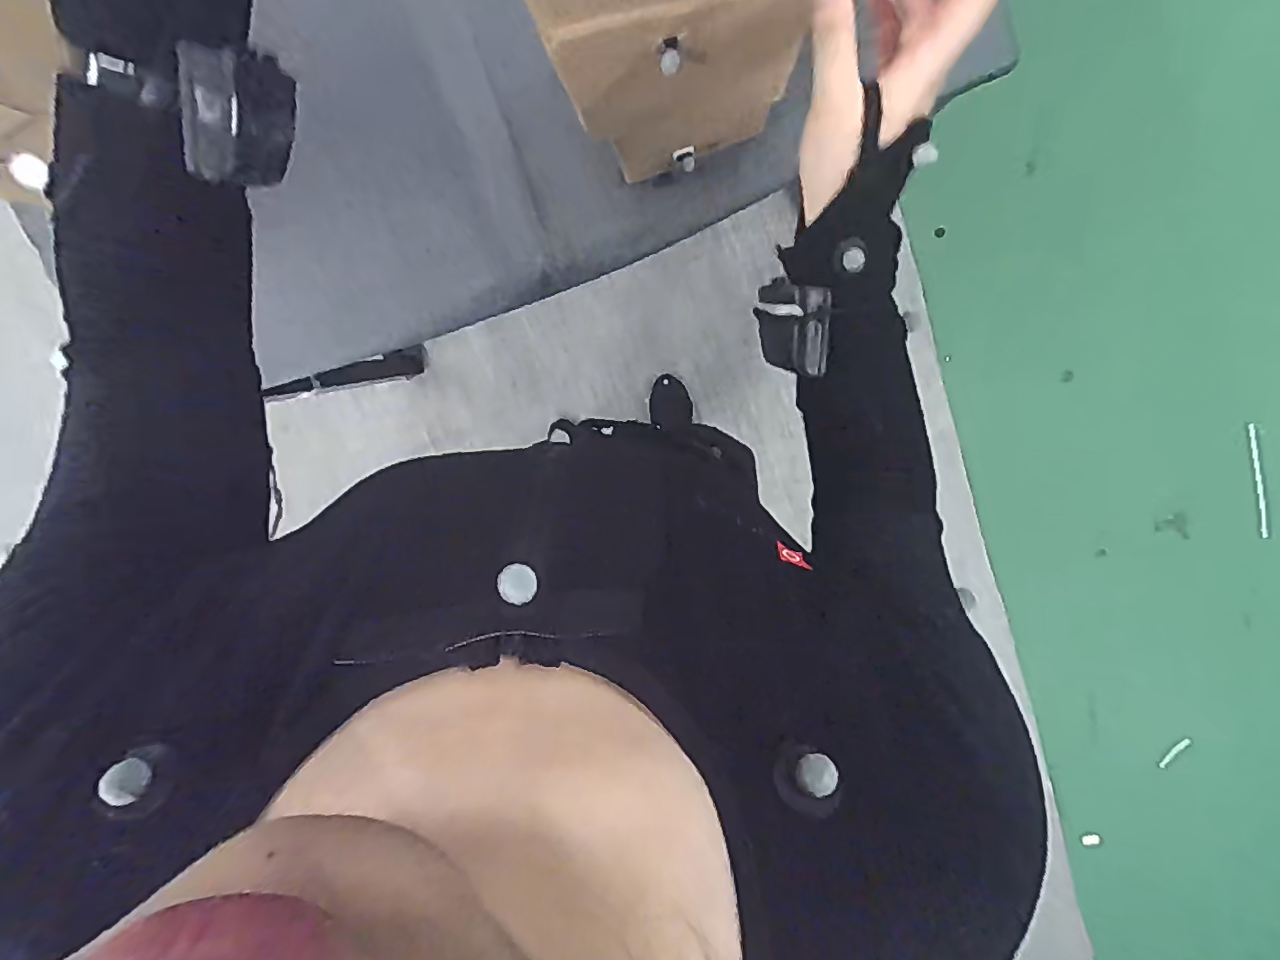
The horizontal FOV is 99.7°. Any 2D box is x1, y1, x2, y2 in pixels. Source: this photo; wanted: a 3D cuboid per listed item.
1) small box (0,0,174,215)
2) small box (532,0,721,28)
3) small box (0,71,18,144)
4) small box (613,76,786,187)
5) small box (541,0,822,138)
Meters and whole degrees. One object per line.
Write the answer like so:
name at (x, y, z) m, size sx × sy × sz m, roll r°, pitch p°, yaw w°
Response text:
small box at (-0.699, -0.431, 0.606) m, size 0.168 × 0.176 × 0.179 m, roll -22°, pitch 103°, yaw 10°
small box at (0.009, -0.340, 0.226) m, size 0.179 × 0.176 × 0.168 m, roll -5°, pitch 103°, yaw 8°
small box at (-0.705, -0.373, 0.451) m, size 0.179 × 0.176 × 0.168 m, roll -22°, pitch 103°, yaw 11°
small box at (0.033, -0.430, 0.540) m, size 0.168 × 0.176 × 0.179 m, roll -17°, pitch 102°, yaw 10°
small box at (0.023, -0.377, 0.387) m, size 0.179 × 0.176 × 0.168 m, roll -7°, pitch 103°, yaw 9°
